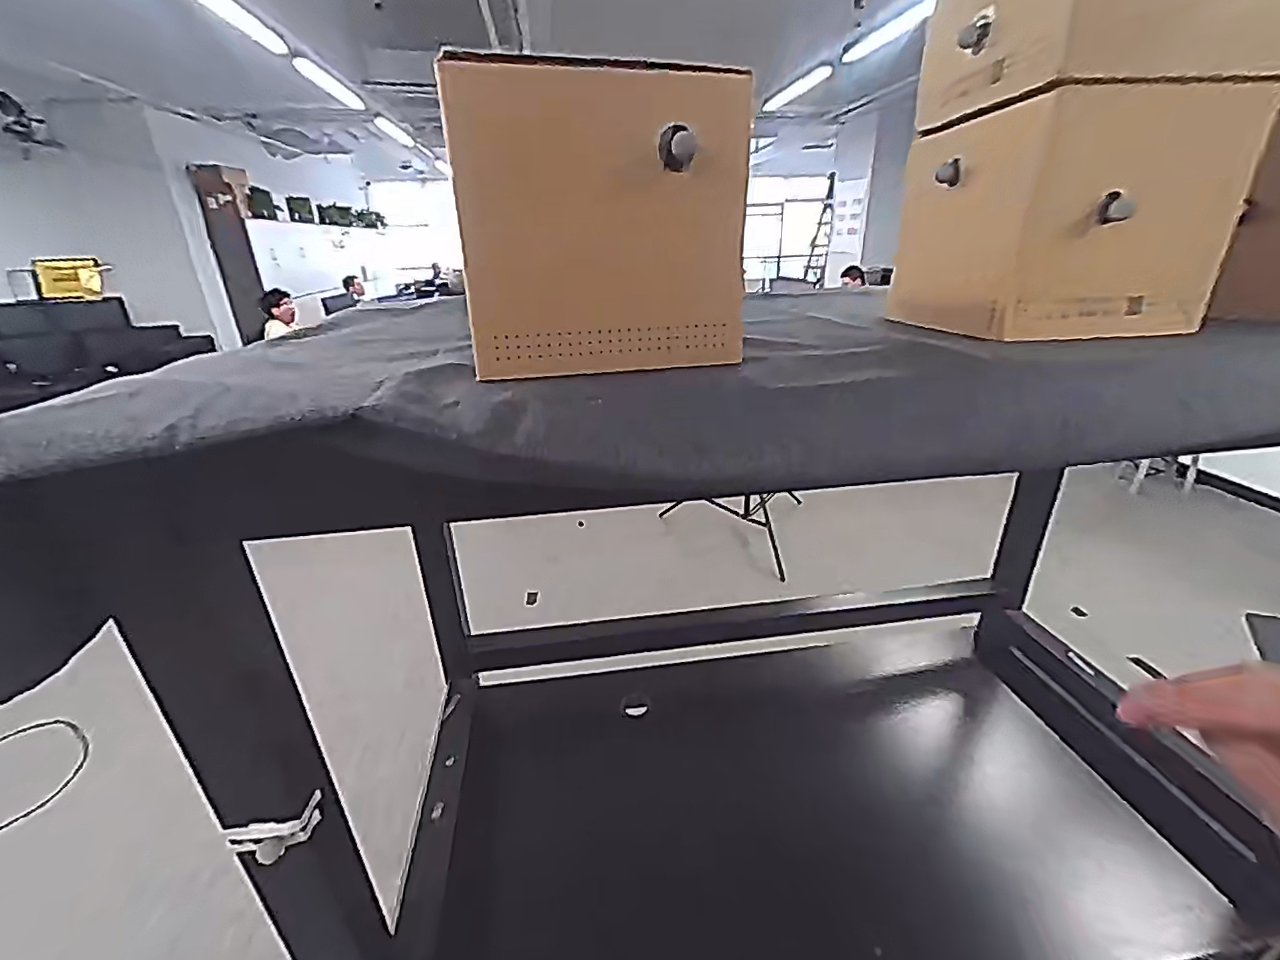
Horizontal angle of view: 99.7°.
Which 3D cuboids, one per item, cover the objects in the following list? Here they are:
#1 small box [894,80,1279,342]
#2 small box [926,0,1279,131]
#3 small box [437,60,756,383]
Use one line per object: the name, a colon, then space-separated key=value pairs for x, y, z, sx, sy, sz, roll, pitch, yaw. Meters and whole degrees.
small box: x=0.343 y=-0.211 z=0.458 sx=0.168 sy=0.176 sz=0.179 roll=-4 pitch=22 yaw=-4
small box: x=0.337 y=-0.359 z=0.385 sx=0.179 sy=0.176 sz=0.168 roll=-5 pitch=22 yaw=-3
small box: x=-0.033 y=-0.172 z=0.390 sx=0.179 sy=0.176 sz=0.168 roll=-7 pitch=22 yaw=-11
